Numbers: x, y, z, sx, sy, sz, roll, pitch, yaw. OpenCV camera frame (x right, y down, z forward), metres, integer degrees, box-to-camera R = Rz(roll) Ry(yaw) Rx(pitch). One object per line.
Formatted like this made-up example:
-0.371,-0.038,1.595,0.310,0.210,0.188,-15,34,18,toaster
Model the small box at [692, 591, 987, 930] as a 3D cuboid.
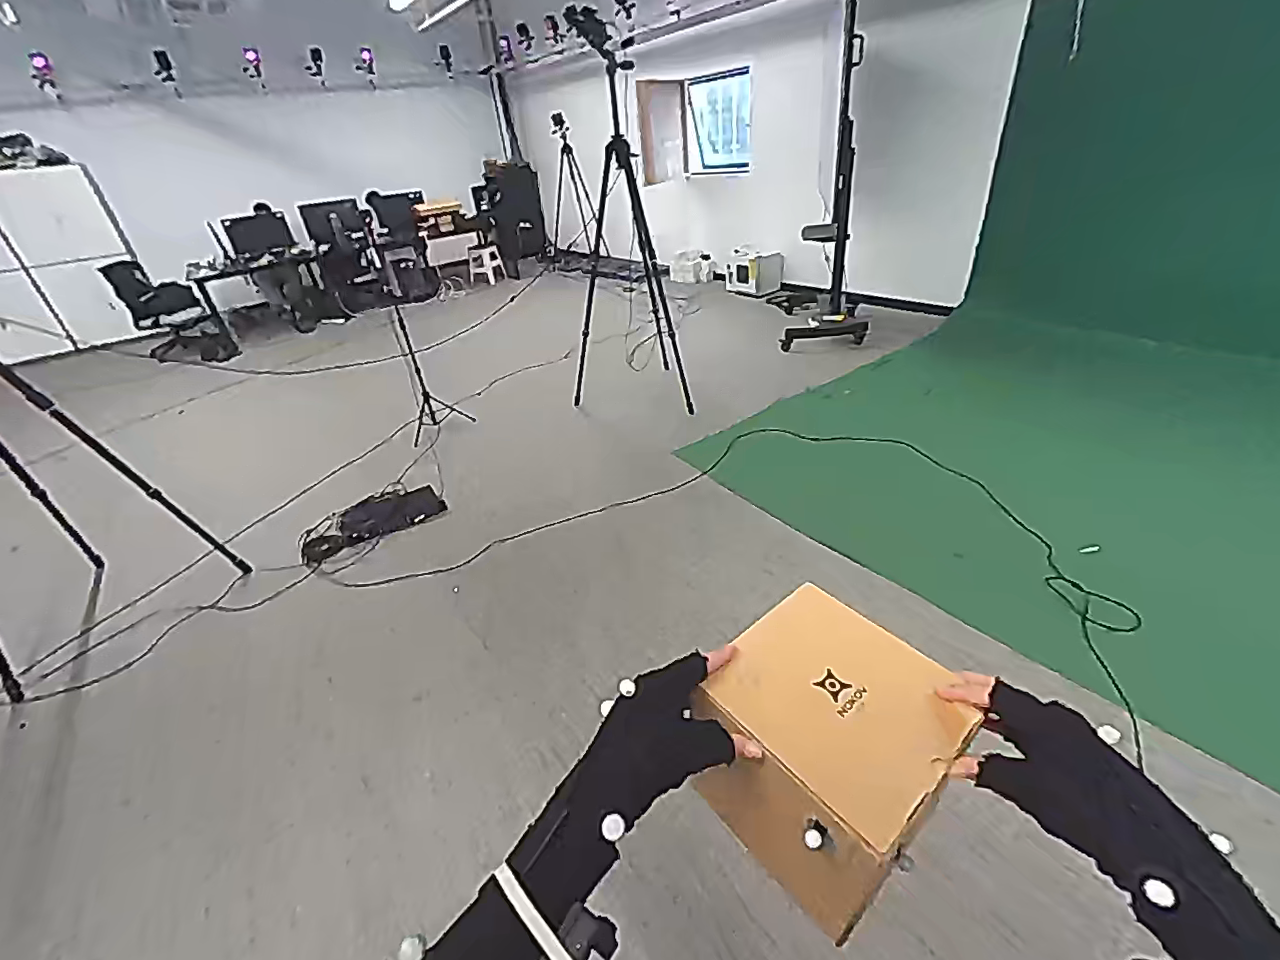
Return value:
0.160,0.241,0.486,0.168,0.176,0.179,-26,42,-31,small box
